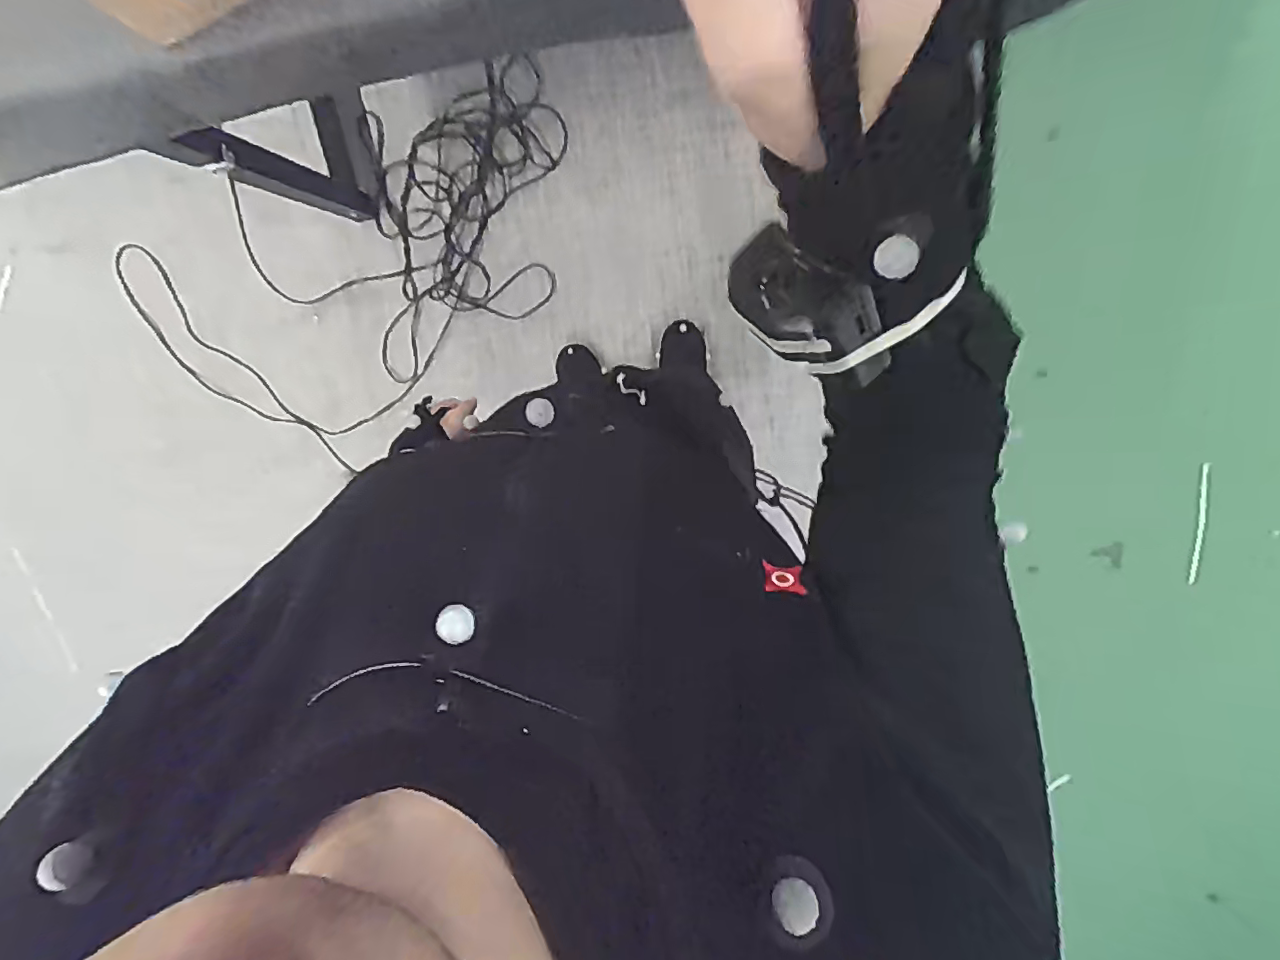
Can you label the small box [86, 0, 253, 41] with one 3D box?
[{"bbox_3d":[-0.427,-0.512,0.433,0.179,0.176,0.168,-19,102,9],"label":"small box"}]
